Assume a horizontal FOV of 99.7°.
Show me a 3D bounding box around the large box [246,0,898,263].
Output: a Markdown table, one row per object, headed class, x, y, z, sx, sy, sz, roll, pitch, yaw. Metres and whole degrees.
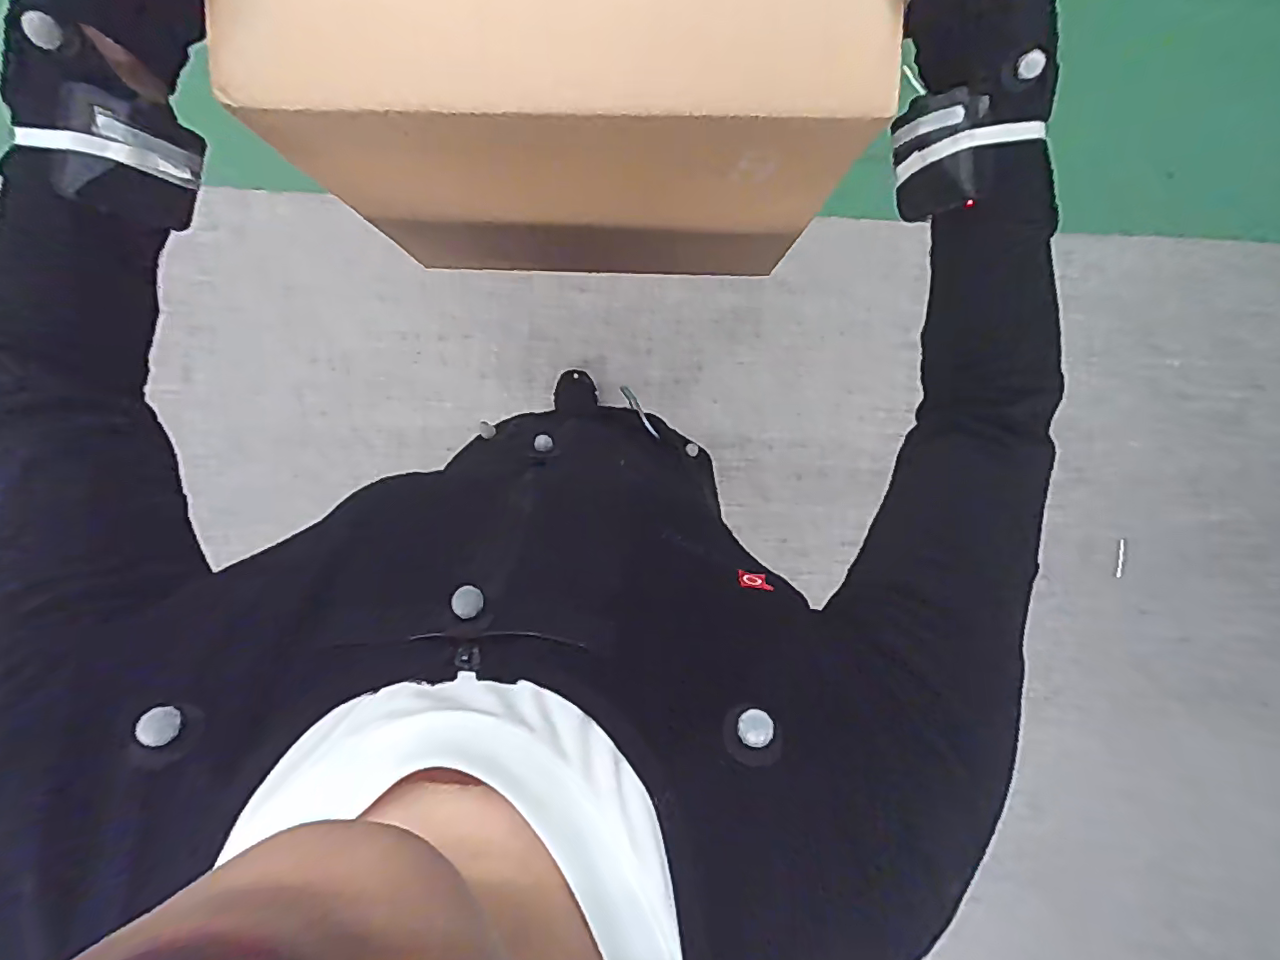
| class | x | y | z | sx | sy | sz | roll | pitch | yaw |
| --- | --- | --- | --- | --- | --- | --- | --- | --- | --- |
| large box | -0.041 | -0.394 | 0.470 | 0.408 | 0.320 | 0.320 | 1 | 95 | 0 |
